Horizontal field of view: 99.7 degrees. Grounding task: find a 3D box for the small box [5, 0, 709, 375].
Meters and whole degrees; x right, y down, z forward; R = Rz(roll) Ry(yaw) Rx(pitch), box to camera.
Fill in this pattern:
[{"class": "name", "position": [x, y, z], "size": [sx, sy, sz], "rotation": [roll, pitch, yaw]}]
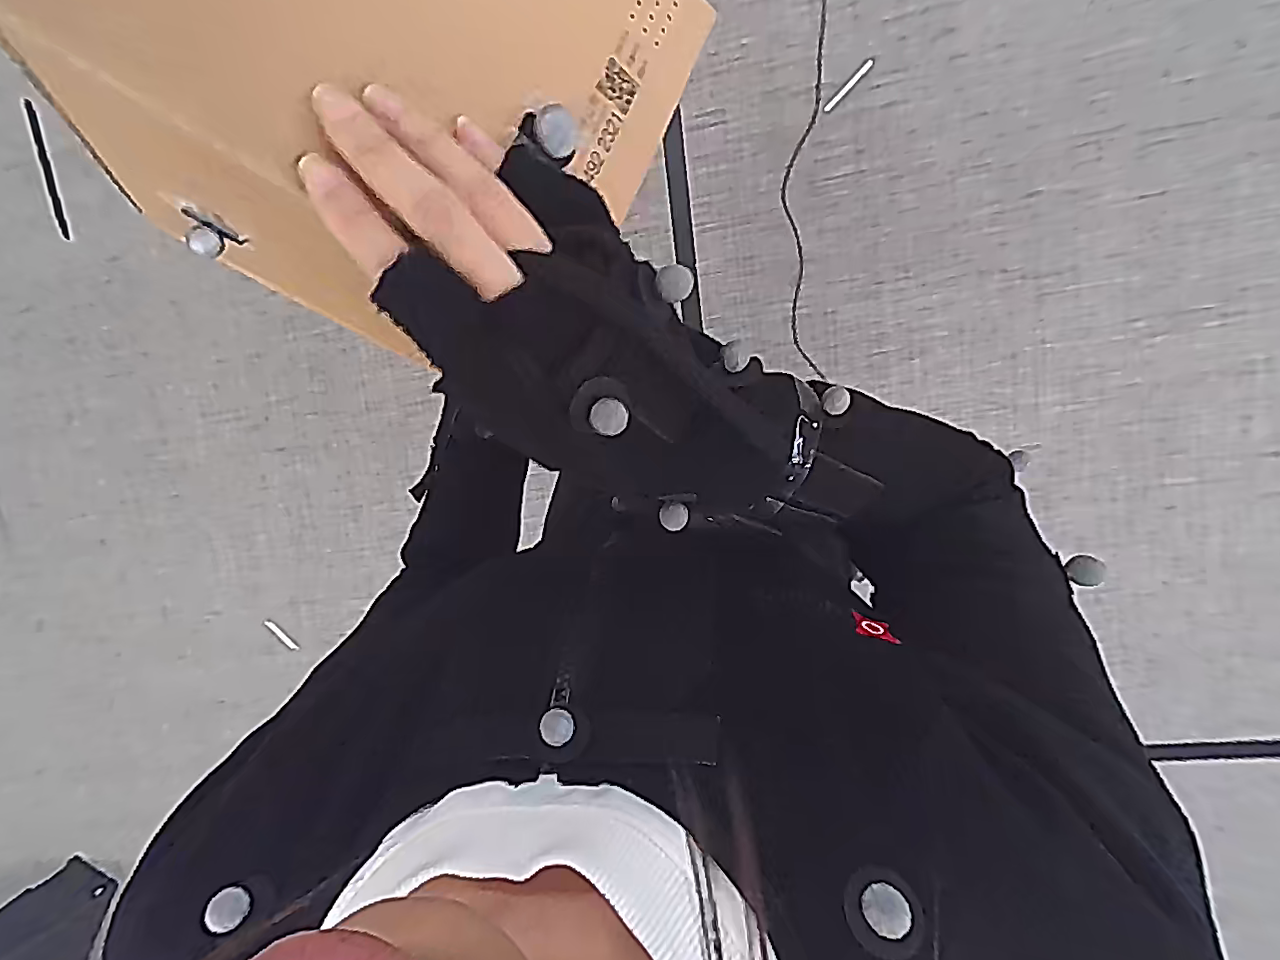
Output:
[{"class": "small box", "position": [-0.102, -0.160, 0.251], "size": [0.176, 0.179, 0.168], "rotation": [26, 83, -32]}]
